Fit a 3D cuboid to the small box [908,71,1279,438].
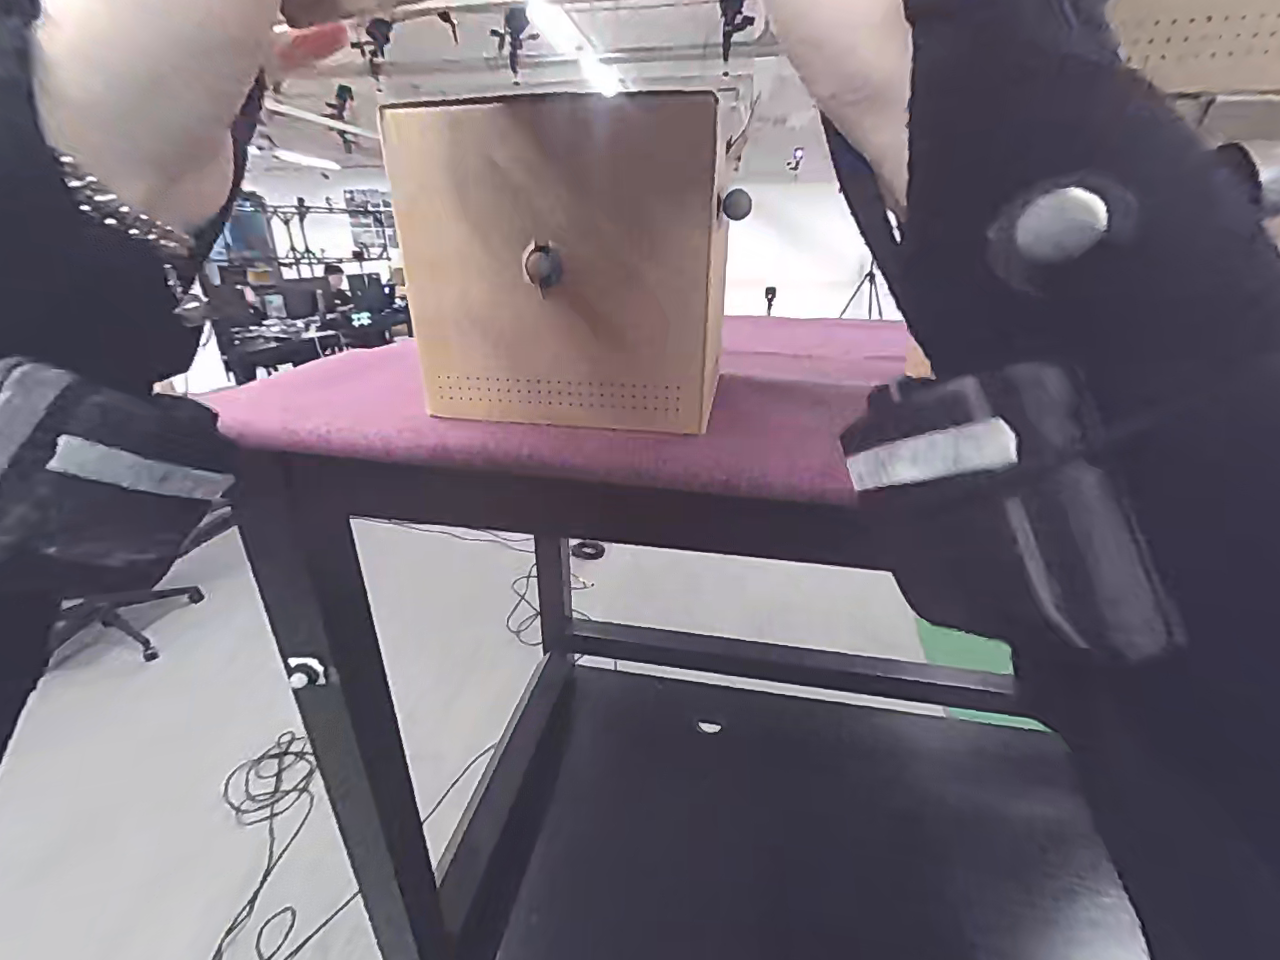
[{"bbox_3d":[0.287,-0.132,0.339,0.168,0.176,0.179,6,24,11],"label":"small box"}]
